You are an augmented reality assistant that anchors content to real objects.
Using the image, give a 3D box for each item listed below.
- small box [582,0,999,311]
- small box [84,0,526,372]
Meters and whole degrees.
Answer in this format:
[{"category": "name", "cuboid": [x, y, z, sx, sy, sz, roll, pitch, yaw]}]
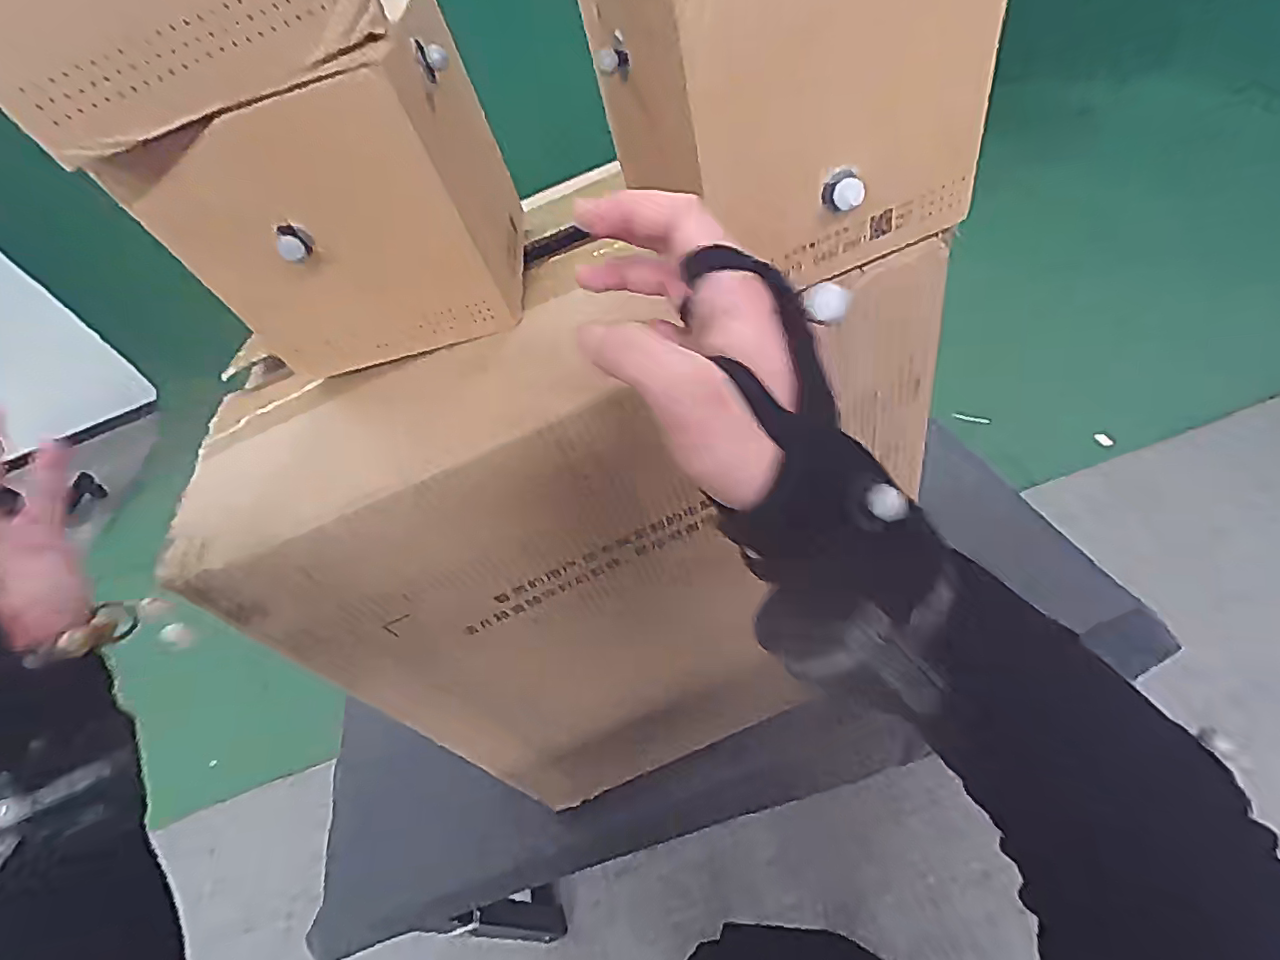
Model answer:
[{"category": "small box", "cuboid": [0.075, -0.232, 0.327, 0.168, 0.176, 0.179, -23, 47, -2]}, {"category": "small box", "cuboid": [-0.199, -0.201, 0.382, 0.179, 0.176, 0.168, -13, 55, 8]}]
